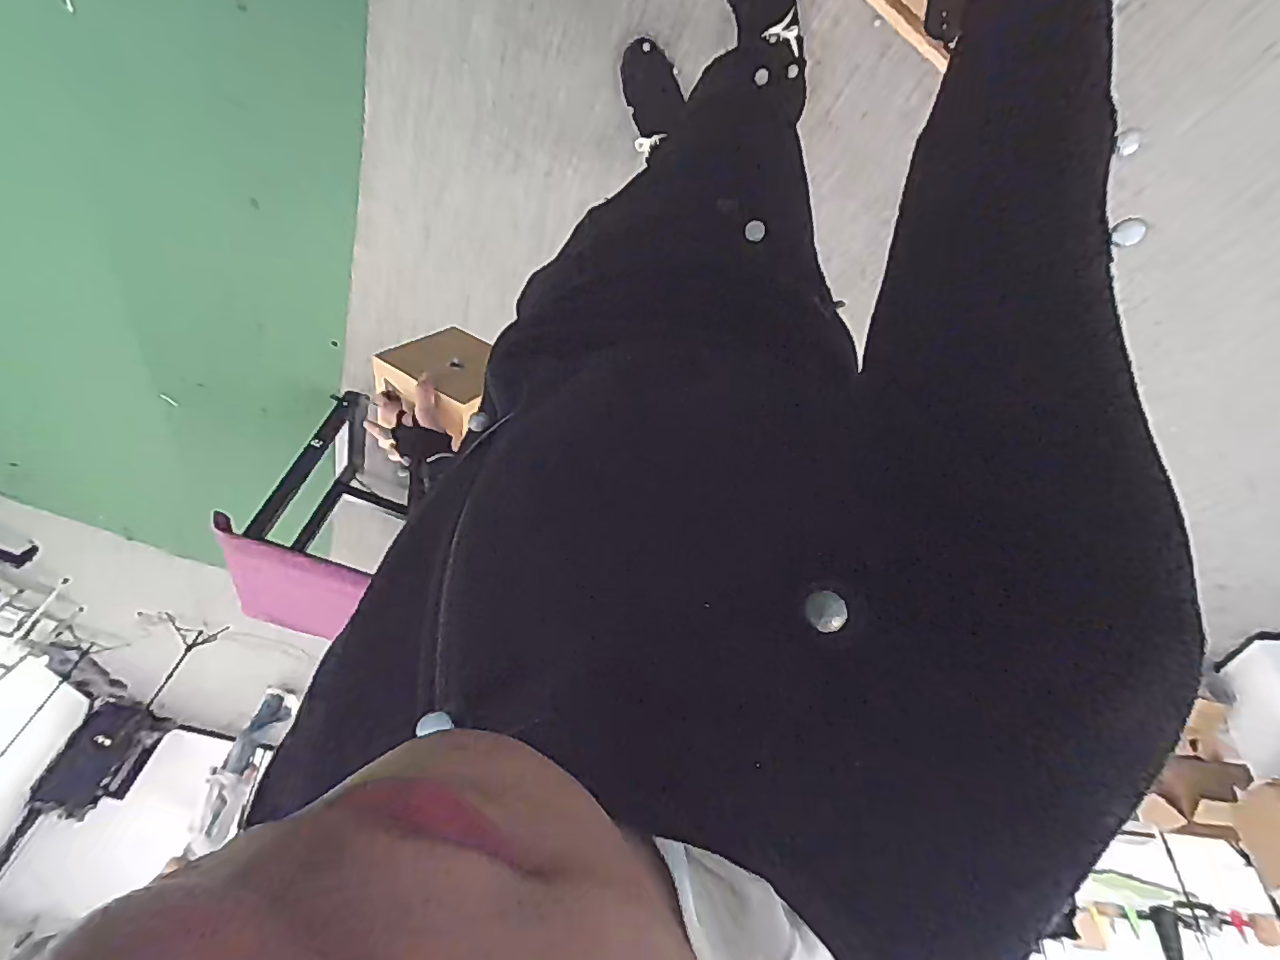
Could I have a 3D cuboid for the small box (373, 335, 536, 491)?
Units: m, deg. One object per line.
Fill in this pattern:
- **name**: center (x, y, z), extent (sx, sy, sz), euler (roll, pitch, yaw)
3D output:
- **small box**: center (-0.295, -0.117, 0.873), extent (0.179, 0.176, 0.168), euler (27, 129, 14)
